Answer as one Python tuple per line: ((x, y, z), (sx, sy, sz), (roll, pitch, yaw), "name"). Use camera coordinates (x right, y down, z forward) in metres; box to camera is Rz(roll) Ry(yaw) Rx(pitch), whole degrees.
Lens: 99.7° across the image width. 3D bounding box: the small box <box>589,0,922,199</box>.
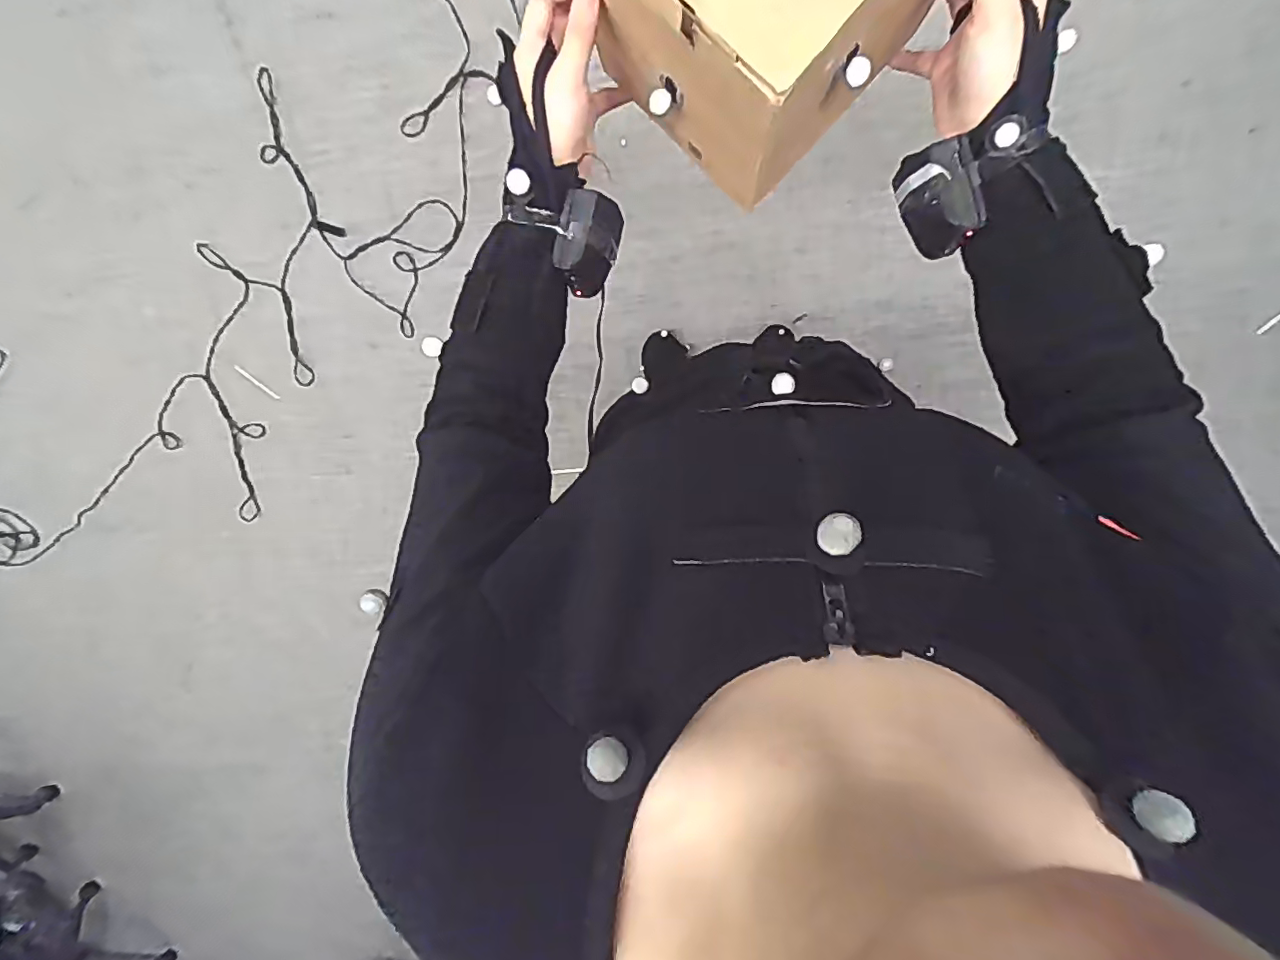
((0.078, -0.320, 0.341), (0.168, 0.176, 0.179), (44, 102, -1), "small box")
